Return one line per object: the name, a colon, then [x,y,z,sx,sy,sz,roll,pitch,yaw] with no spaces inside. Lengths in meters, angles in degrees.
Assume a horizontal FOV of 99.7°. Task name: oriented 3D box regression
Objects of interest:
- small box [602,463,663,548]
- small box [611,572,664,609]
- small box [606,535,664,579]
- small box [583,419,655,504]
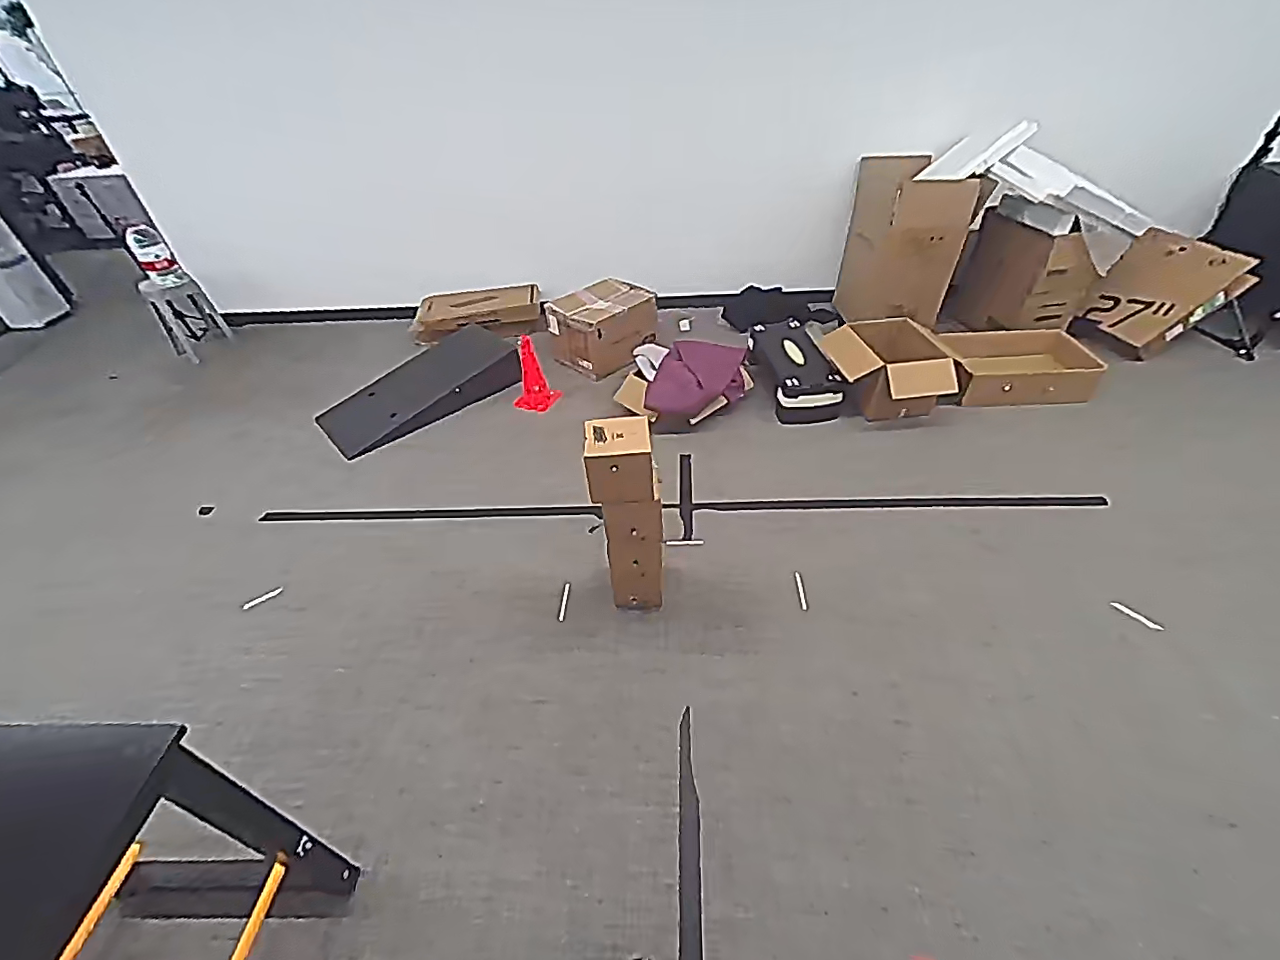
small box: [-0.023,0.075,1.587,0.168,0.176,0.179,-6,41,0]
small box: [-0.005,0.312,1.815,0.168,0.176,0.179,-3,42,3]
small box: [-0.011,0.199,1.696,0.168,0.176,0.179,-3,41,3]
small box: [-0.055,-0.048,1.481,0.179,0.176,0.168,-5,40,0]
